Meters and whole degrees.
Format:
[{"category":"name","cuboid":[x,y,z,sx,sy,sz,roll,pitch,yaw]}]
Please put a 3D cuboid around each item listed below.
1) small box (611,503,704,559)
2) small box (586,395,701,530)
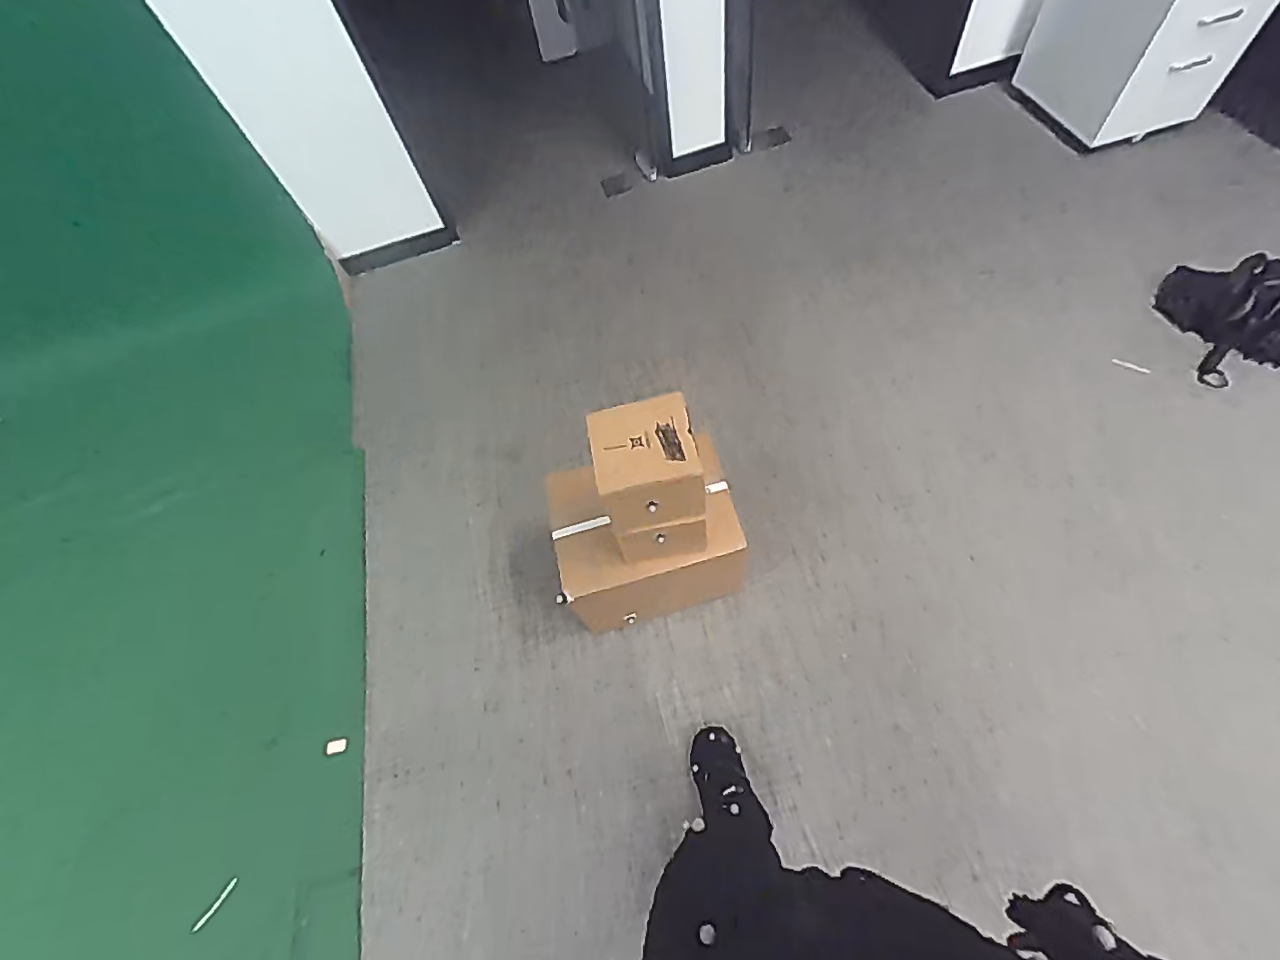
[{"category":"small box","cuboid":[0.032,0.053,1.117,0.179,0.176,0.168,-10,63,1]},{"category":"small box","cuboid":[0.012,-0.025,0.975,0.179,0.176,0.168,-12,63,4]}]
